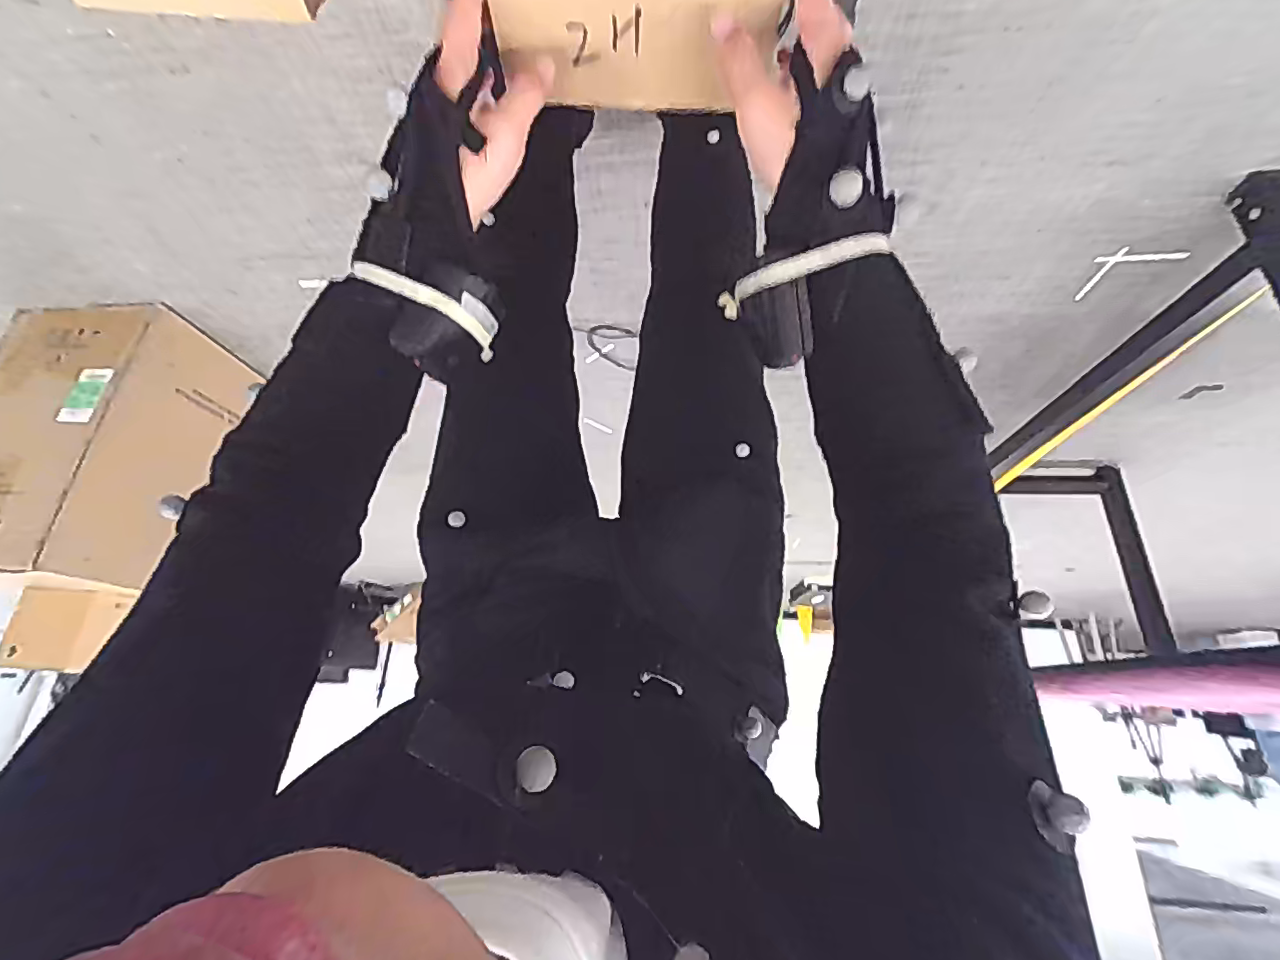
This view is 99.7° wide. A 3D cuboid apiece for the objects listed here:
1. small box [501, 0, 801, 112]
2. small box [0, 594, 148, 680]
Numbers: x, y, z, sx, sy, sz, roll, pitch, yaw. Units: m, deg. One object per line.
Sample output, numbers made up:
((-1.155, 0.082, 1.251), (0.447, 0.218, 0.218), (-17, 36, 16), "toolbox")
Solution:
((0.010, -0.346, 0.295), (0.168, 0.176, 0.179), (4, 157, 0), "small box")
((-1.244, 0.348, 1.191), (0.179, 0.176, 0.168), (1, 158, 5), "small box")
